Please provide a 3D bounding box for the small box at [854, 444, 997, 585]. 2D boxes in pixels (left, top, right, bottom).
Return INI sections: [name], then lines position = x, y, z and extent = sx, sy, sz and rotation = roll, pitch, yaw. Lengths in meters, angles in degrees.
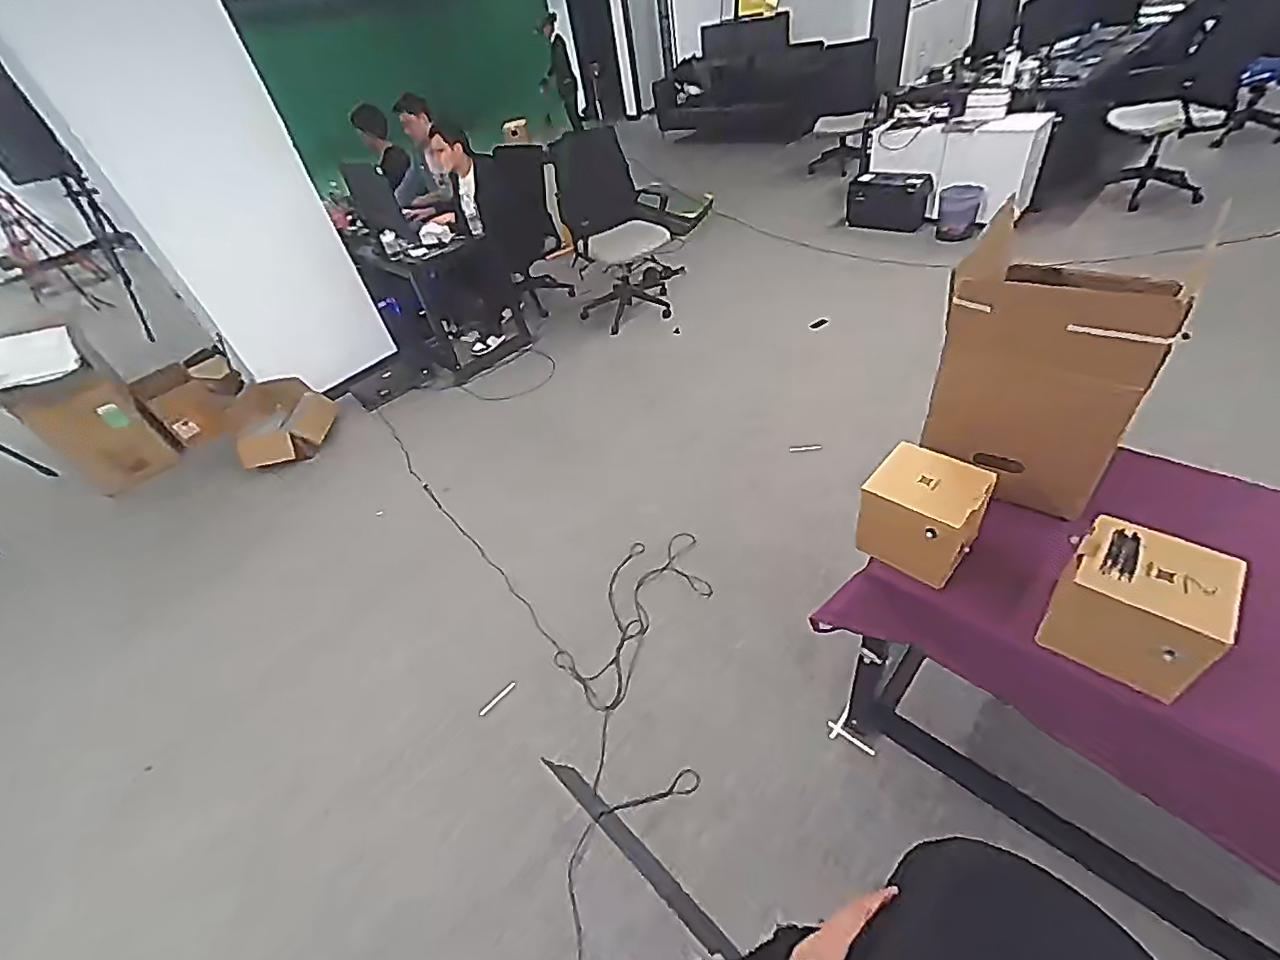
[small box]
position = 0.527, 0.065, 1.021
extent = 0.179, 0.176, 0.168
rotation = 29, 56, 36
